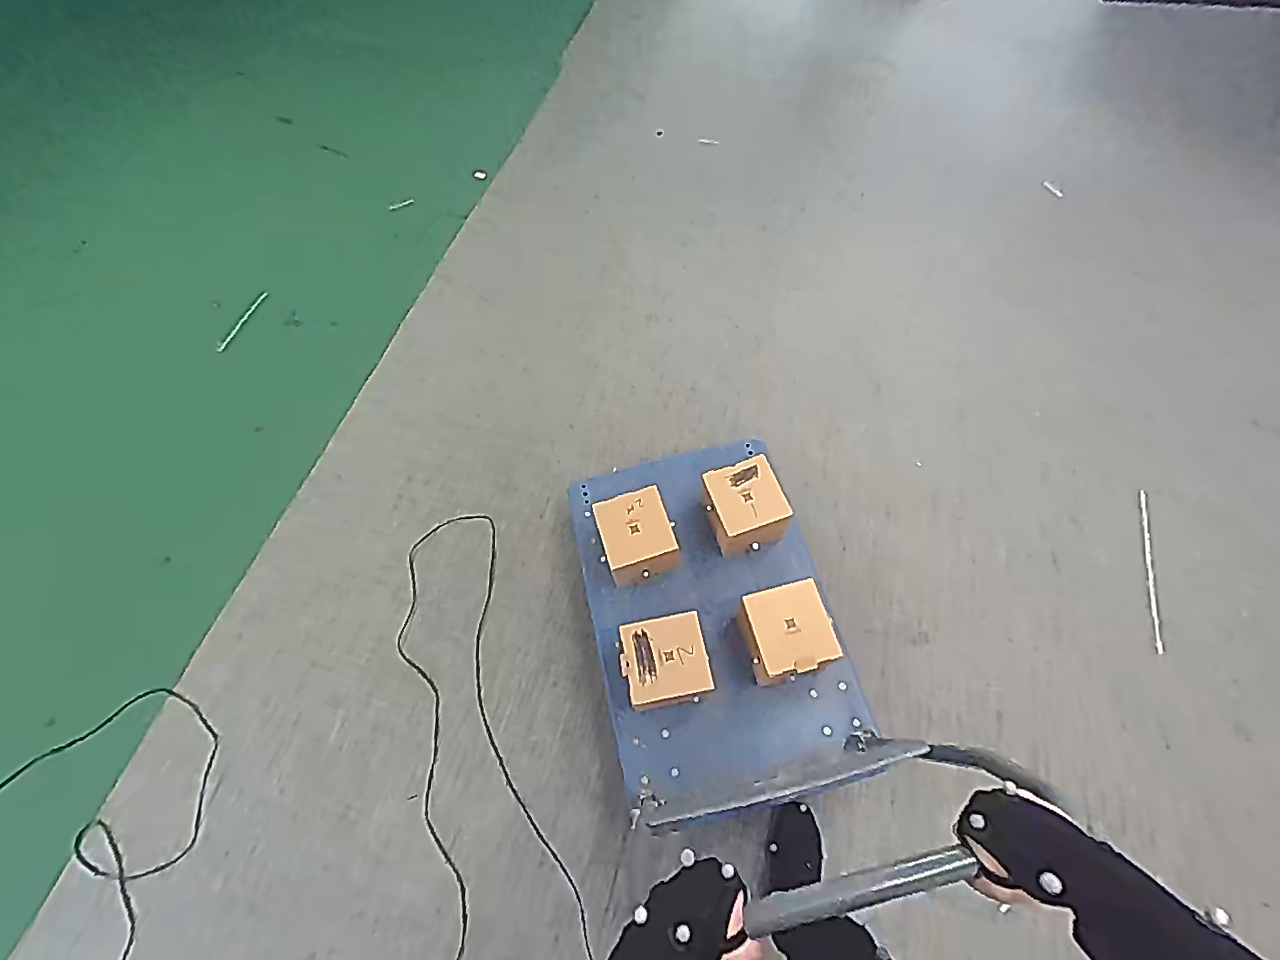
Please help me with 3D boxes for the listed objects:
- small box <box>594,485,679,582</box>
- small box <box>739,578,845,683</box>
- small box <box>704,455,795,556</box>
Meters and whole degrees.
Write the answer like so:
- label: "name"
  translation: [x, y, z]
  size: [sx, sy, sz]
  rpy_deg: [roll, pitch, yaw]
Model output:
- label: "small box"
  translation: [-0.005, 0.142, 1.342]
  size: [0.168, 0.176, 0.179]
  rpy_deg: [-17, 64, -5]
- label: "small box"
  translation: [0.330, 0.344, 1.221]
  size: [0.168, 0.176, 0.179]
  rpy_deg: [-14, 64, -3]
- label: "small box"
  translation: [0.264, 0.067, 1.359]
  size: [0.168, 0.176, 0.179]
  rpy_deg: [-18, 65, -4]
